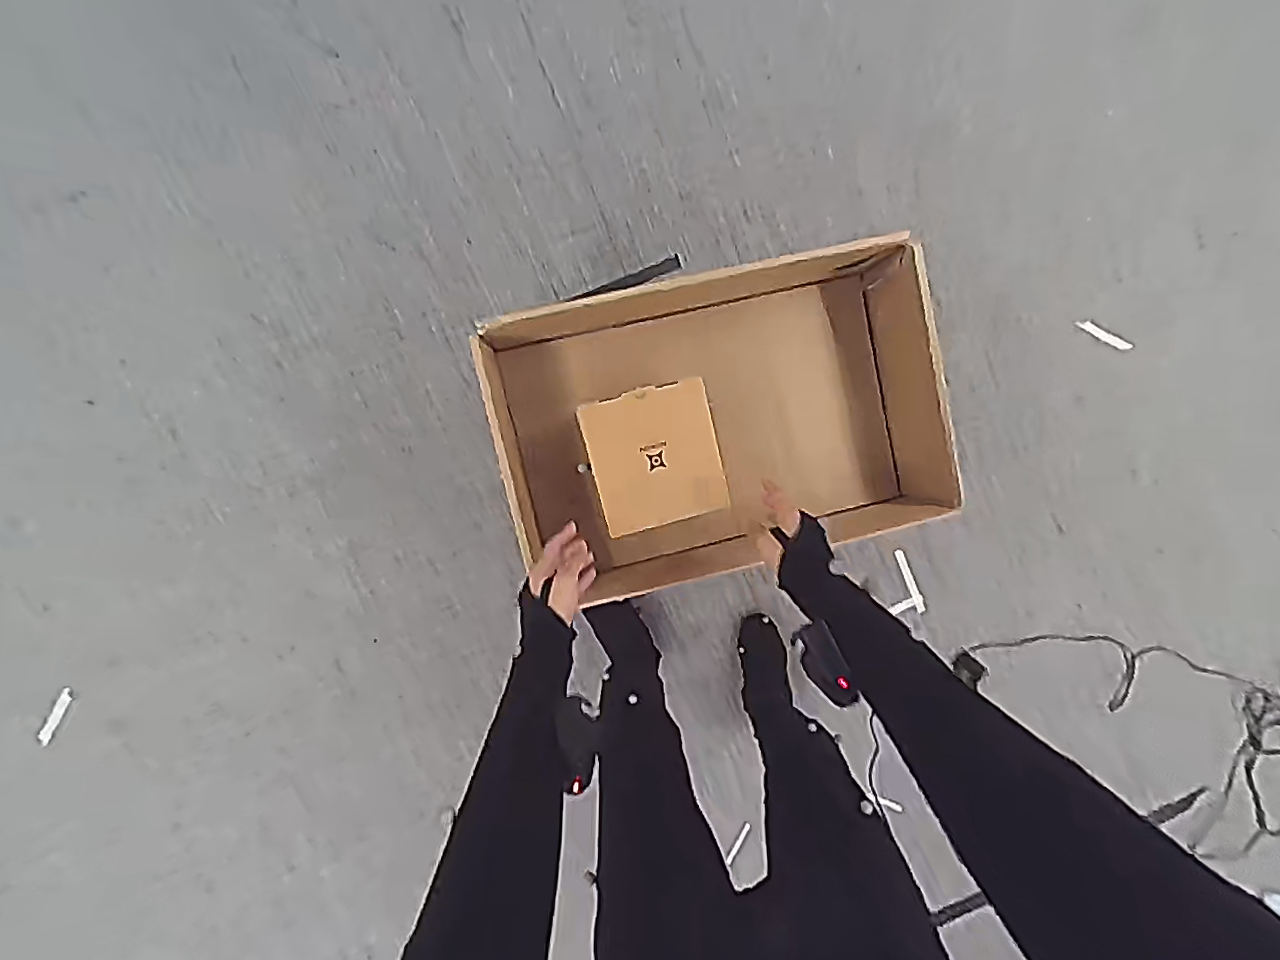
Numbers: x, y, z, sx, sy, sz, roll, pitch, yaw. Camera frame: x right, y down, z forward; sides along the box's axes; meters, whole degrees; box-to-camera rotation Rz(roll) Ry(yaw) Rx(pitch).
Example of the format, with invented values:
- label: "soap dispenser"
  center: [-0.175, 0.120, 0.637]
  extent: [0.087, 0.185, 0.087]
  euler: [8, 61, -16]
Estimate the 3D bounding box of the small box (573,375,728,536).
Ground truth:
- label: "small box"
  center: [0.009, -0.036, 0.761]
  extent: [0.168, 0.176, 0.179]
  euler: [-15, 95, -4]
